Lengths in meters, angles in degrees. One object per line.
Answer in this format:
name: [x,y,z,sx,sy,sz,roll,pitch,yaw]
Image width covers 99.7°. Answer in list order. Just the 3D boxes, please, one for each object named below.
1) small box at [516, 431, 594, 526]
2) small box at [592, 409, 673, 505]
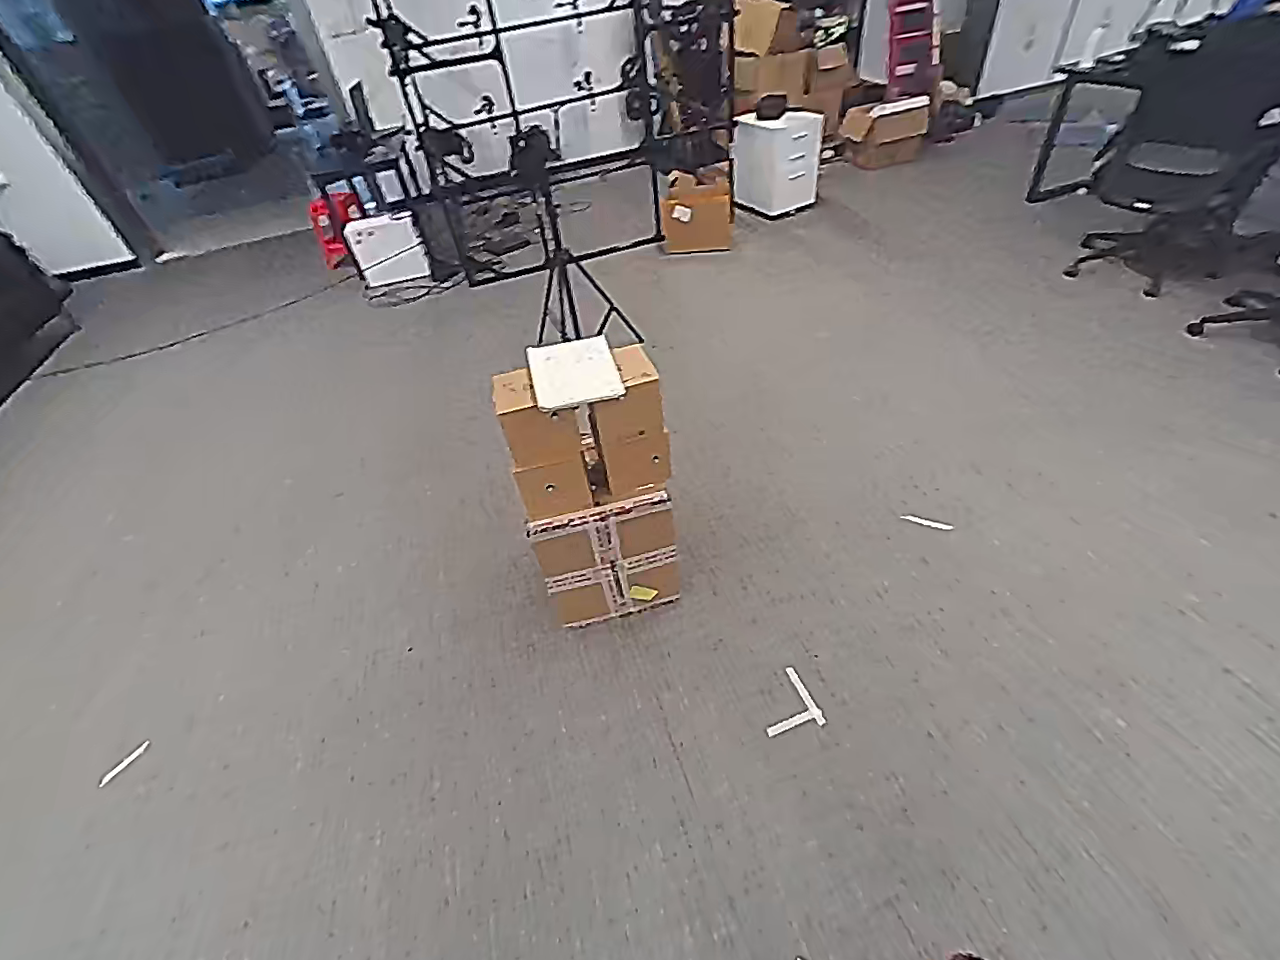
small box: [-0.223,-0.002,1.439,0.179,0.176,0.168,-12,45,-1]
small box: [-0.018,-0.061,1.467,0.179,0.176,0.168,-17,45,-9]
